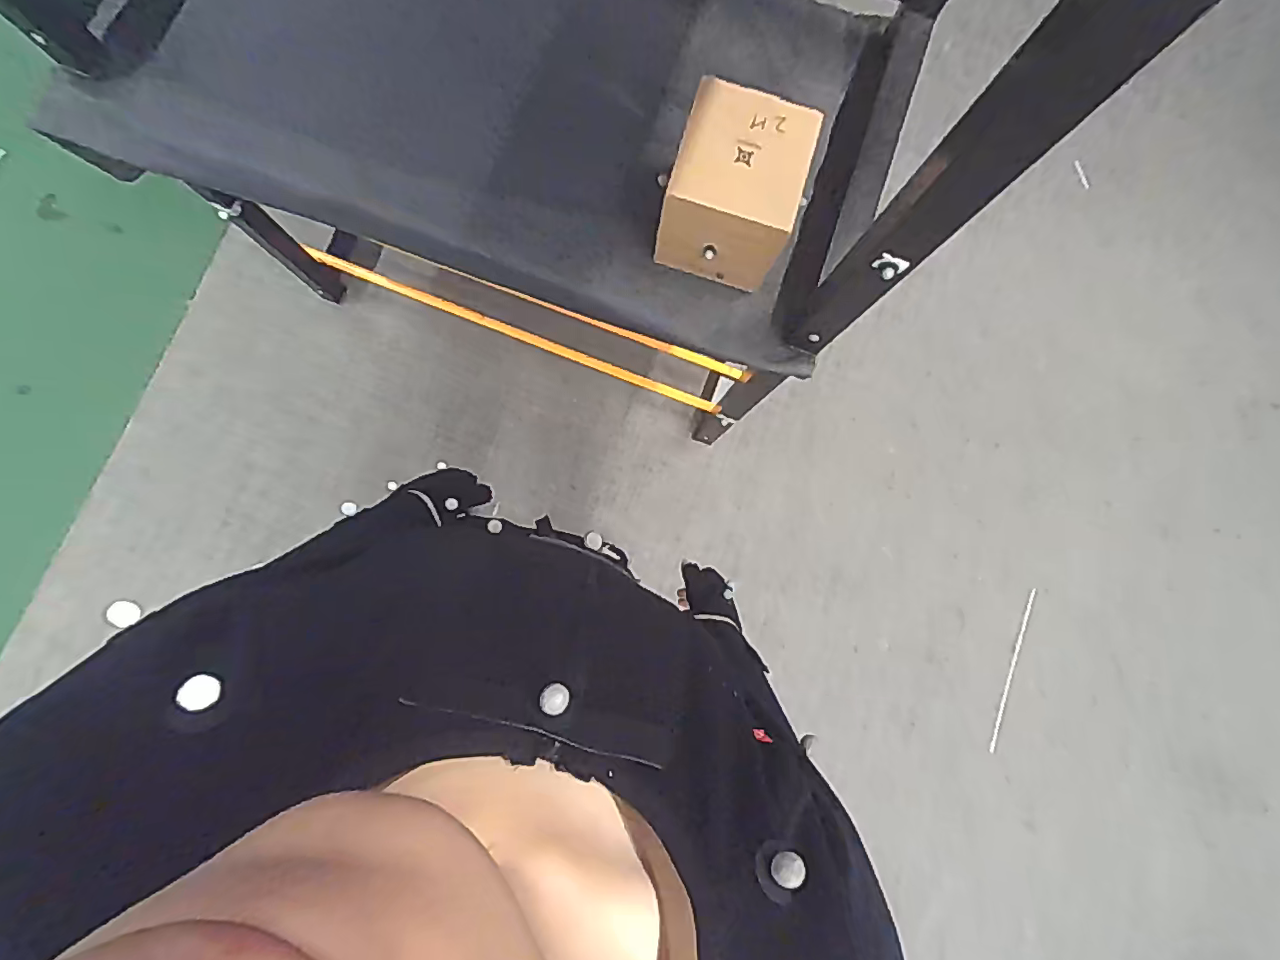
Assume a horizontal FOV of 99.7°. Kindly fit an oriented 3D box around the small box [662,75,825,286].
[{"bbox_3d":[0.133,-0.403,0.760,0.168,0.176,0.179,17,83,-2],"label":"small box"}]
